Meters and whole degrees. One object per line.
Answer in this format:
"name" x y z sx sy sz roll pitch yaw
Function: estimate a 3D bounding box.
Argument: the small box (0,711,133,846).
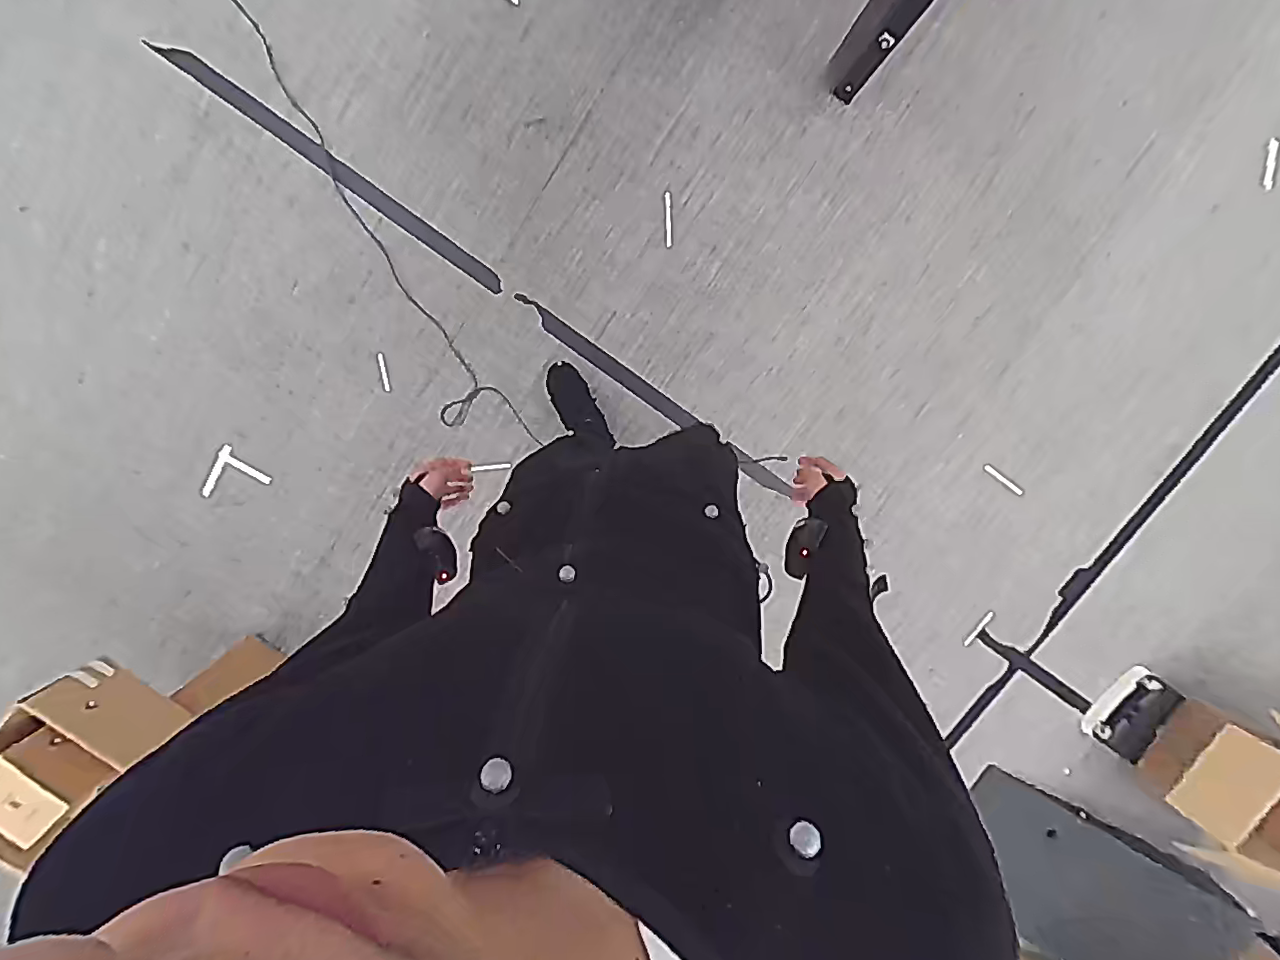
"small box" -1.316 0.650 1.206 0.168 0.176 0.179 -41 101 8
